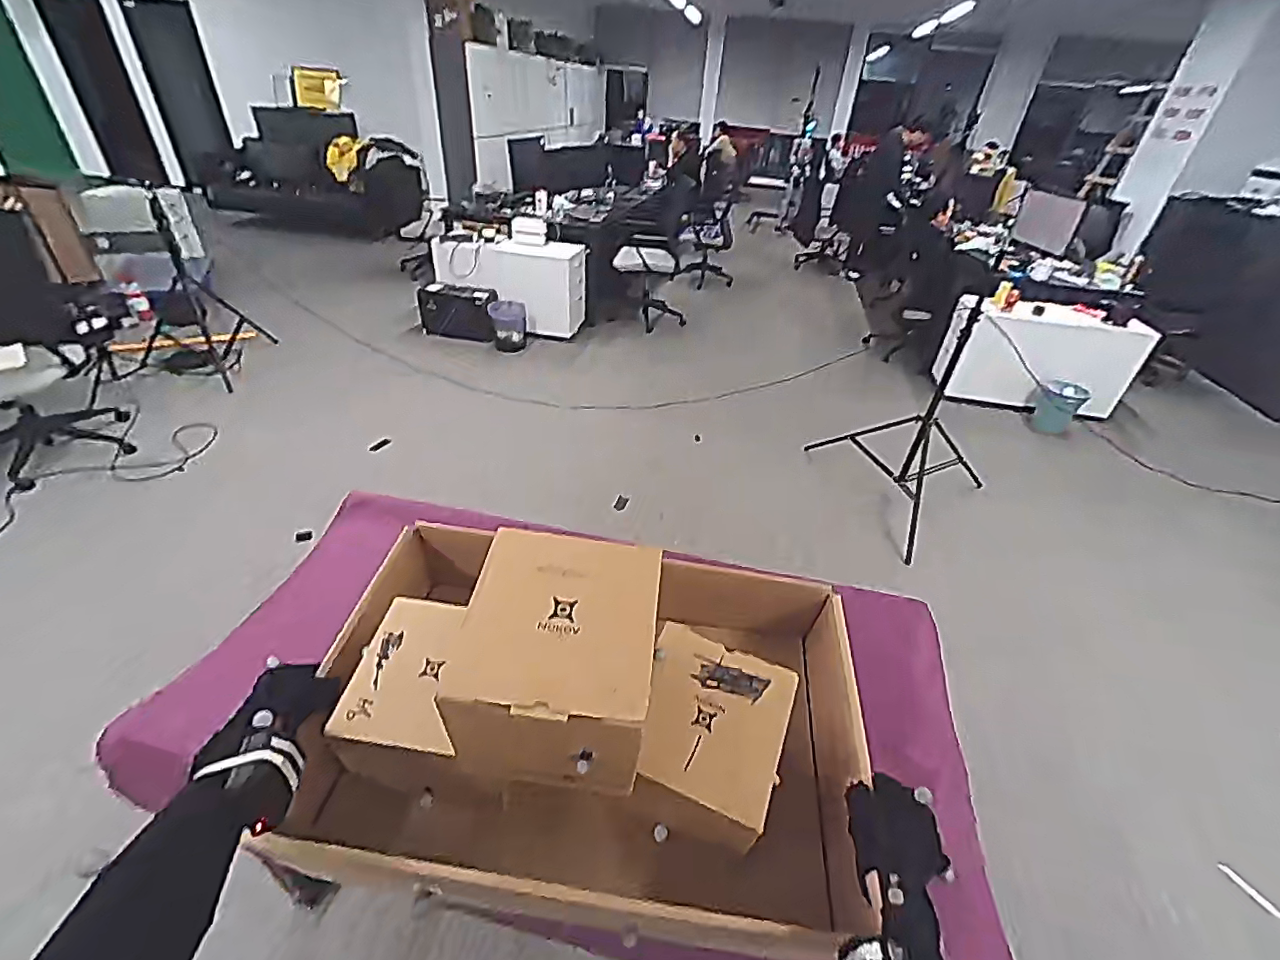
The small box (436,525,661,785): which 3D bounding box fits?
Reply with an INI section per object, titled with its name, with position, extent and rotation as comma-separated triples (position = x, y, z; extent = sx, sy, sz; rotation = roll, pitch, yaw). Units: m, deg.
[small box]
position = -0.075, 0.171, 0.526
extent = 0.168, 0.176, 0.179
rotation = 8, 43, 0
